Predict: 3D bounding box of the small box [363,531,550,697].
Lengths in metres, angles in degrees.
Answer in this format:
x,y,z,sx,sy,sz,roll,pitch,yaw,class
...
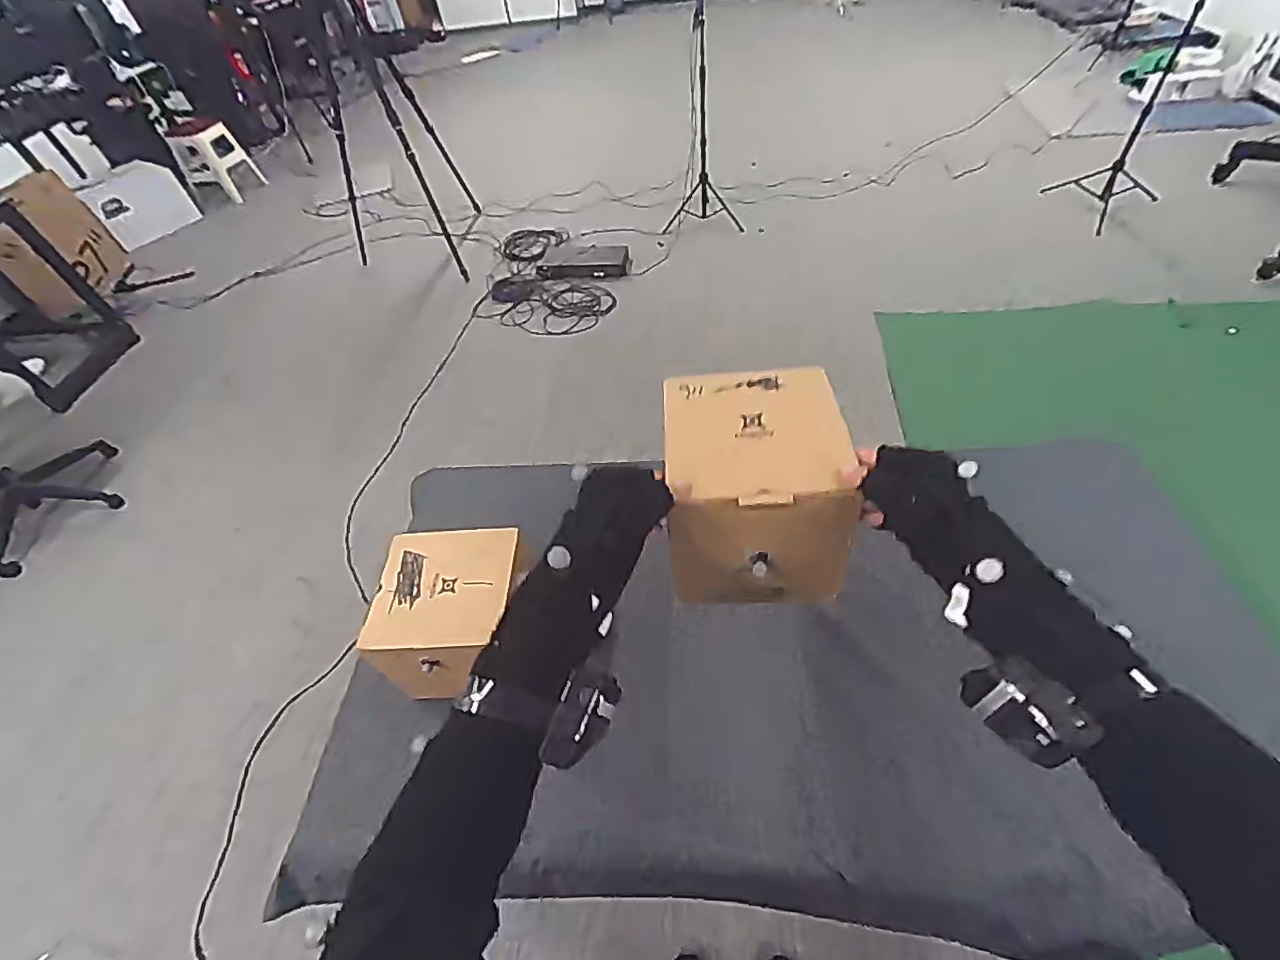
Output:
x,y,z,sx,sy,sz,roll,pitch,yaw,class
-0.234,0.188,0.741,0.179,0.176,0.168,-3,50,4,small box

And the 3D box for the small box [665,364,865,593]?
x,y,z,sx,sy,sz,roll,pitch,yaw,class
0.114,0.005,0.557,0.168,0.176,0.179,-3,47,5,small box
